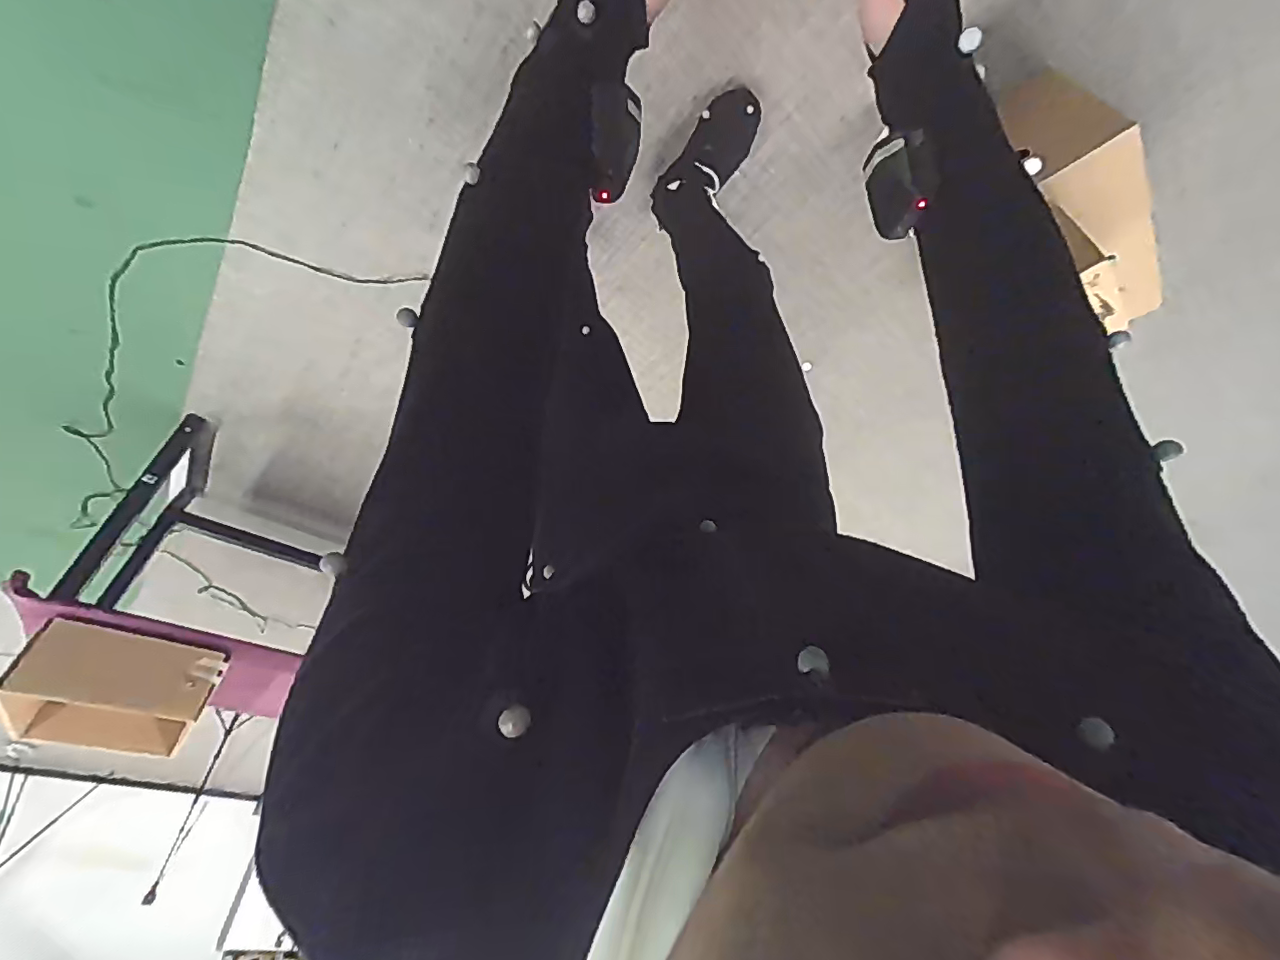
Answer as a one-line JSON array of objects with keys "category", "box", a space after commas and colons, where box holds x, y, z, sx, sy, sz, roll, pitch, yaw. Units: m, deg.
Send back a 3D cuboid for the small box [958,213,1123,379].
[{"category": "small box", "box": [0.684, -0.317, 0.943, 0.179, 0.176, 0.168, -29, 132, 34]}]
